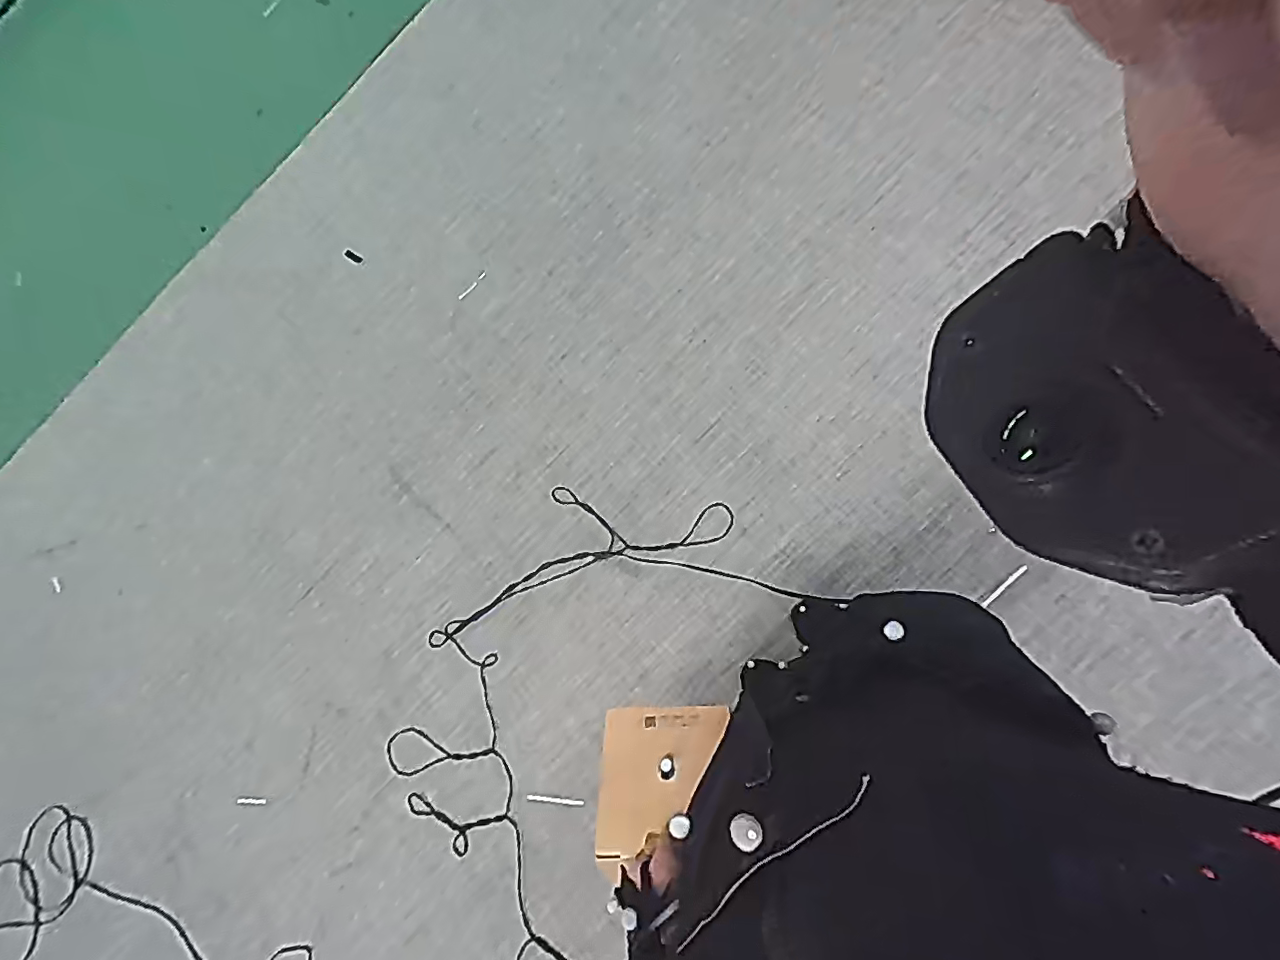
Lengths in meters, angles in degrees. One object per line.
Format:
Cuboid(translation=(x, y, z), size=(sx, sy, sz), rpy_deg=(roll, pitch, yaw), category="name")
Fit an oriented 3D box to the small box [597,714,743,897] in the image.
Cuboid(translation=(0.042, 0.422, 0.707), size=(0.168, 0.179, 0.176), rpy_deg=(-4, 41, 7), category="small box")
